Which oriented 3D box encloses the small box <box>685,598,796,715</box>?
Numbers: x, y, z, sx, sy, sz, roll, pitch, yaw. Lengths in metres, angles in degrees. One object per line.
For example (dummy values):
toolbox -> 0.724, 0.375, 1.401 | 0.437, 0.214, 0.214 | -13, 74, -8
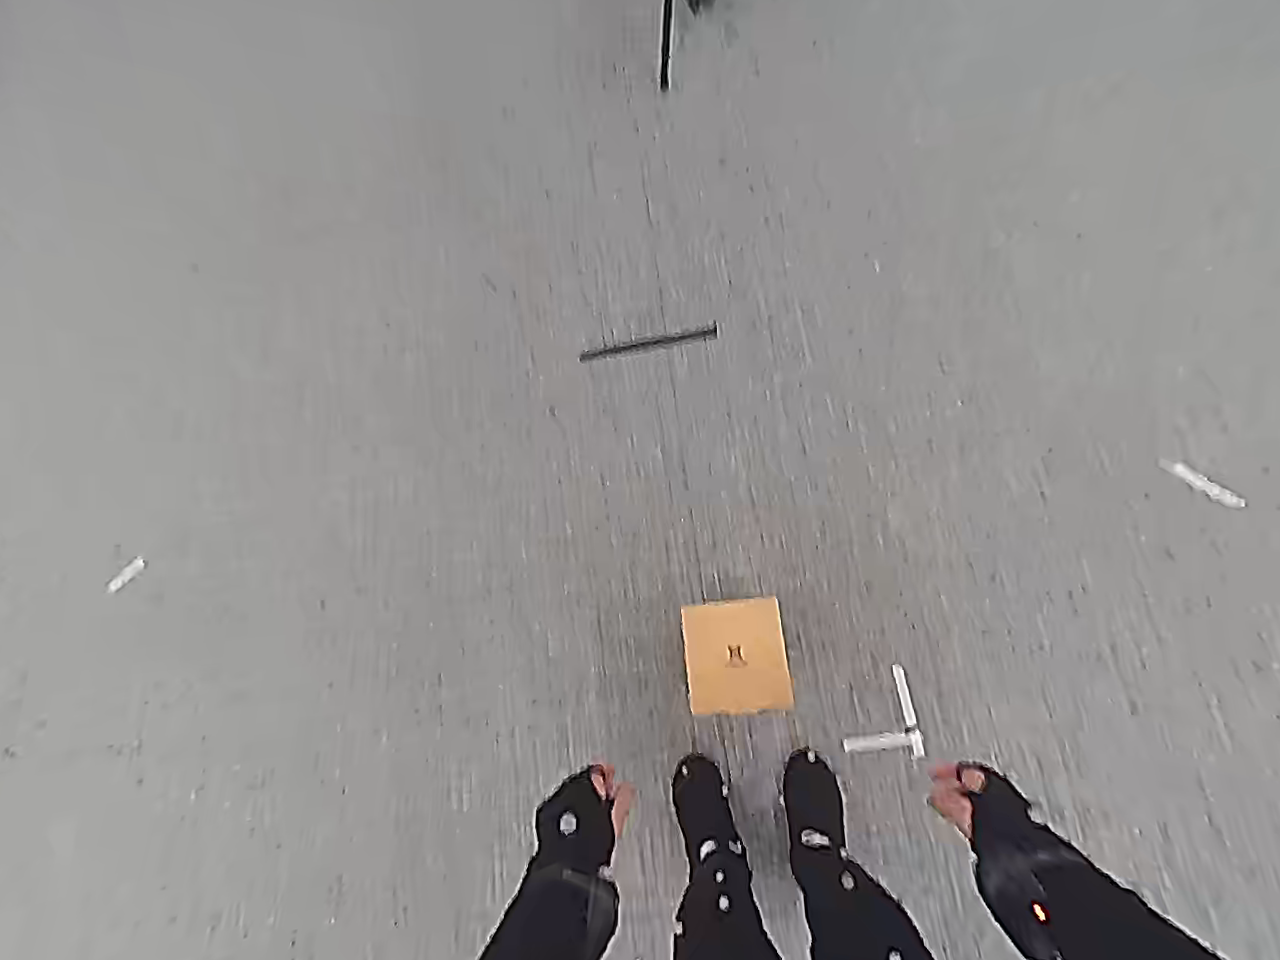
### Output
small box -> 0.171, 0.309, 0.963 | 0.168, 0.176, 0.179 | -7, 75, 6
